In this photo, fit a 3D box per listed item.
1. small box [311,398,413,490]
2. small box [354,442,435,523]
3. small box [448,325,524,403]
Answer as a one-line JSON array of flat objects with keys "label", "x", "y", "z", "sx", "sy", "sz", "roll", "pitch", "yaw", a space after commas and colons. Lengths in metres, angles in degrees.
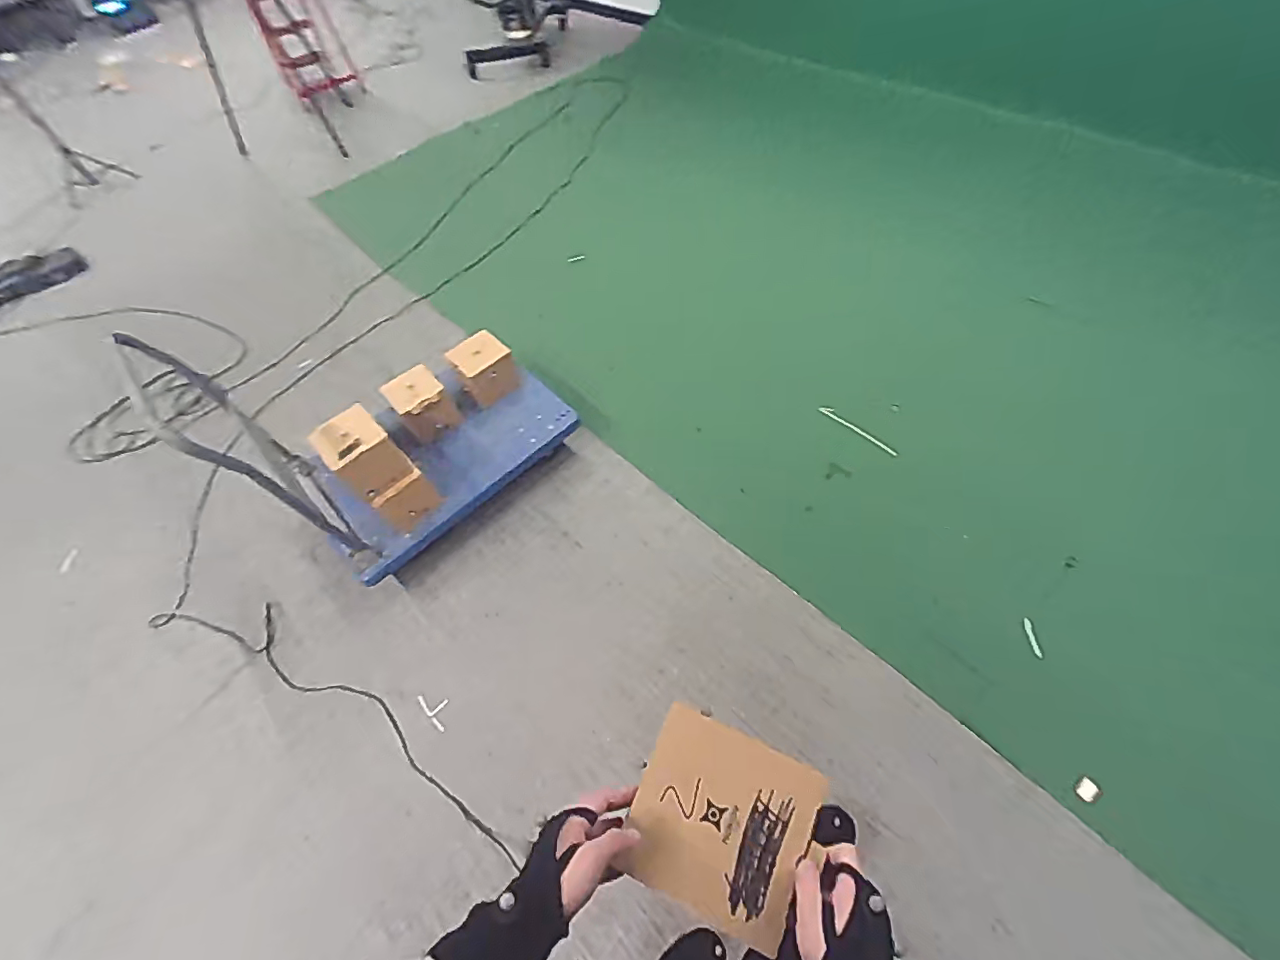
[{"label": "small box", "x": -0.786, "y": -0.094, "z": 1.544, "sx": 0.168, "sy": 0.176, "sz": 0.179, "roll": -40, "pitch": 61, "yaw": -20}, {"label": "small box", "x": -0.755, "y": 0.013, "z": 1.677, "sx": 0.179, "sy": 0.176, "sz": 0.168, "roll": -14, "pitch": 58, "yaw": -3}, {"label": "small box", "x": -0.542, "y": -0.409, "z": 1.924, "sx": 0.179, "sy": 0.176, "sz": 0.168, "roll": -39, "pitch": 62, "yaw": -18}]
